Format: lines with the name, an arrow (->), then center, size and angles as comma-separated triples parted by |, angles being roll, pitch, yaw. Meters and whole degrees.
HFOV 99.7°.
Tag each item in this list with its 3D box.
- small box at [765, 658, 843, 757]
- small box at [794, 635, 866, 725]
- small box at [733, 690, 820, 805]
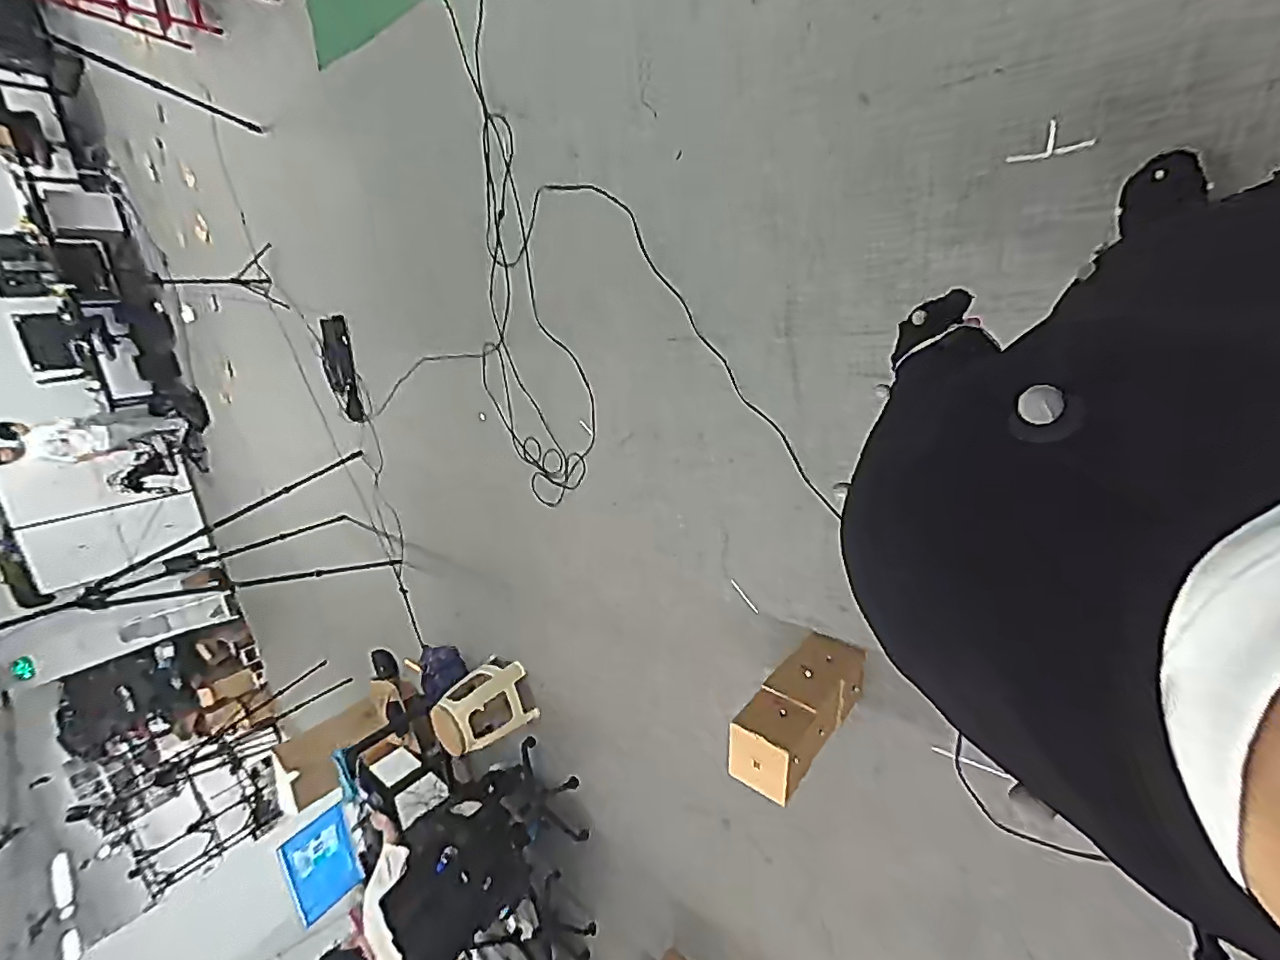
small box -> 0.466, 0.646, 1.545 | 0.168, 0.176, 0.179 | 14, 114, 38
small box -> 0.578, 0.603, 1.658 | 0.179, 0.176, 0.168 | 13, 113, 38
small box -> 0.362, 0.698, 1.431 | 0.168, 0.176, 0.179 | 13, 113, 39
